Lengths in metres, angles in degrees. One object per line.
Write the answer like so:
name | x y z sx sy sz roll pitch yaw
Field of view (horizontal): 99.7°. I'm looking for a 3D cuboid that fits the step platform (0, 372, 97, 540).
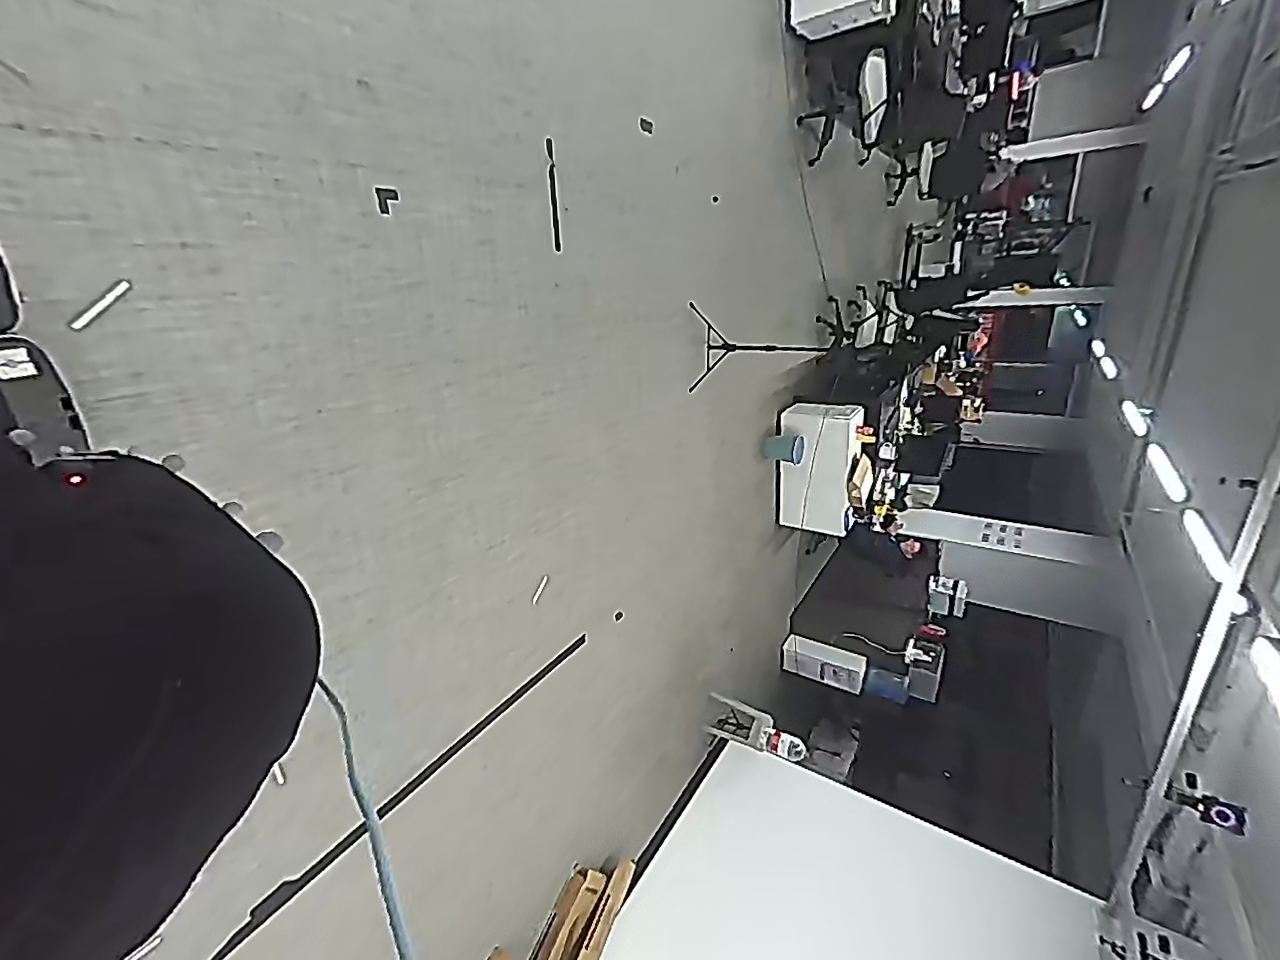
step platform | -1.296 0.007 0.806 0.684 0.204 0.286 -22 114 -51
